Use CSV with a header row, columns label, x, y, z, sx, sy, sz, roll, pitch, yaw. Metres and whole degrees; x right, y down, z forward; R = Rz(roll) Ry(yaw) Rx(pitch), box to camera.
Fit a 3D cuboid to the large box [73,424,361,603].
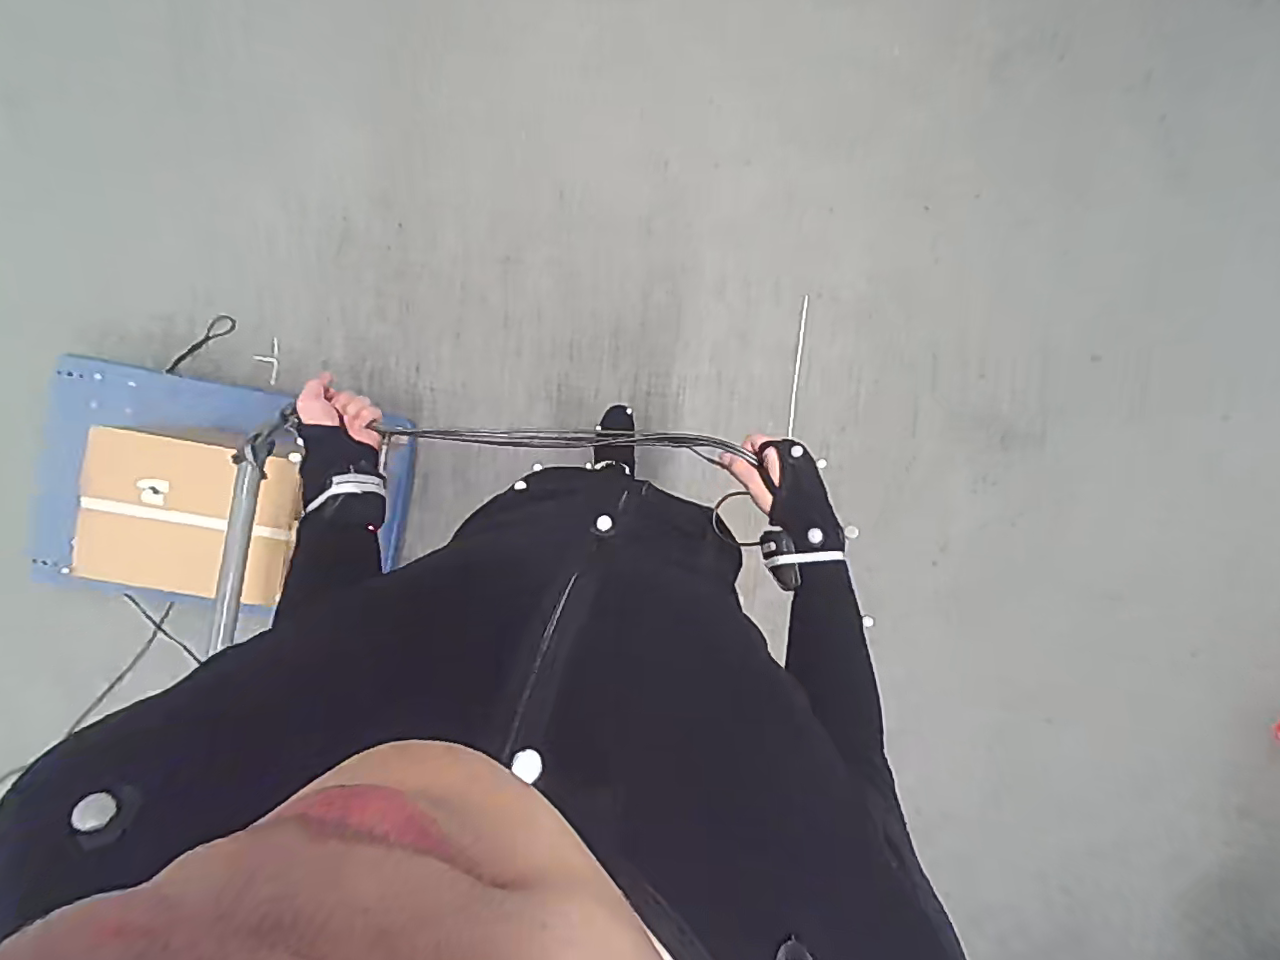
label,x,y,z,sx,sy,sz,roll,pitch,yaw
large box,-0.920,0.061,1.232,0.408,0.320,0.320,11,93,-5
